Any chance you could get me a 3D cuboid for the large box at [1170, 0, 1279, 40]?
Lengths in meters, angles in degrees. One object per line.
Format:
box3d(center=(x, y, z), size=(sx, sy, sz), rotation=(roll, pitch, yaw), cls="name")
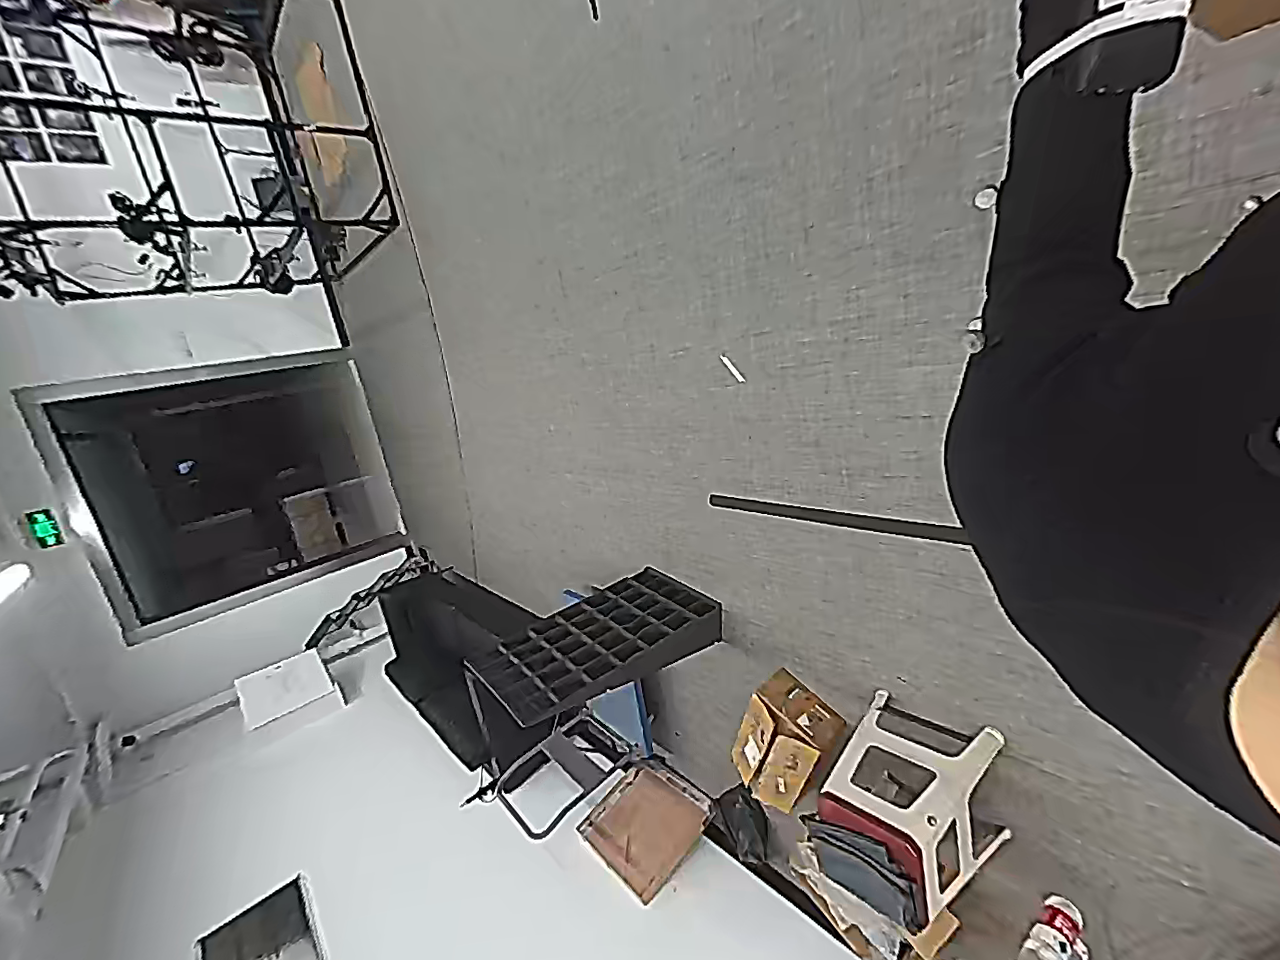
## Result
box3d(center=(0.536, -0.497, 0.247), size=(0.408, 0.320, 0.320), rotation=(8, 118, 51), cls="large box")
